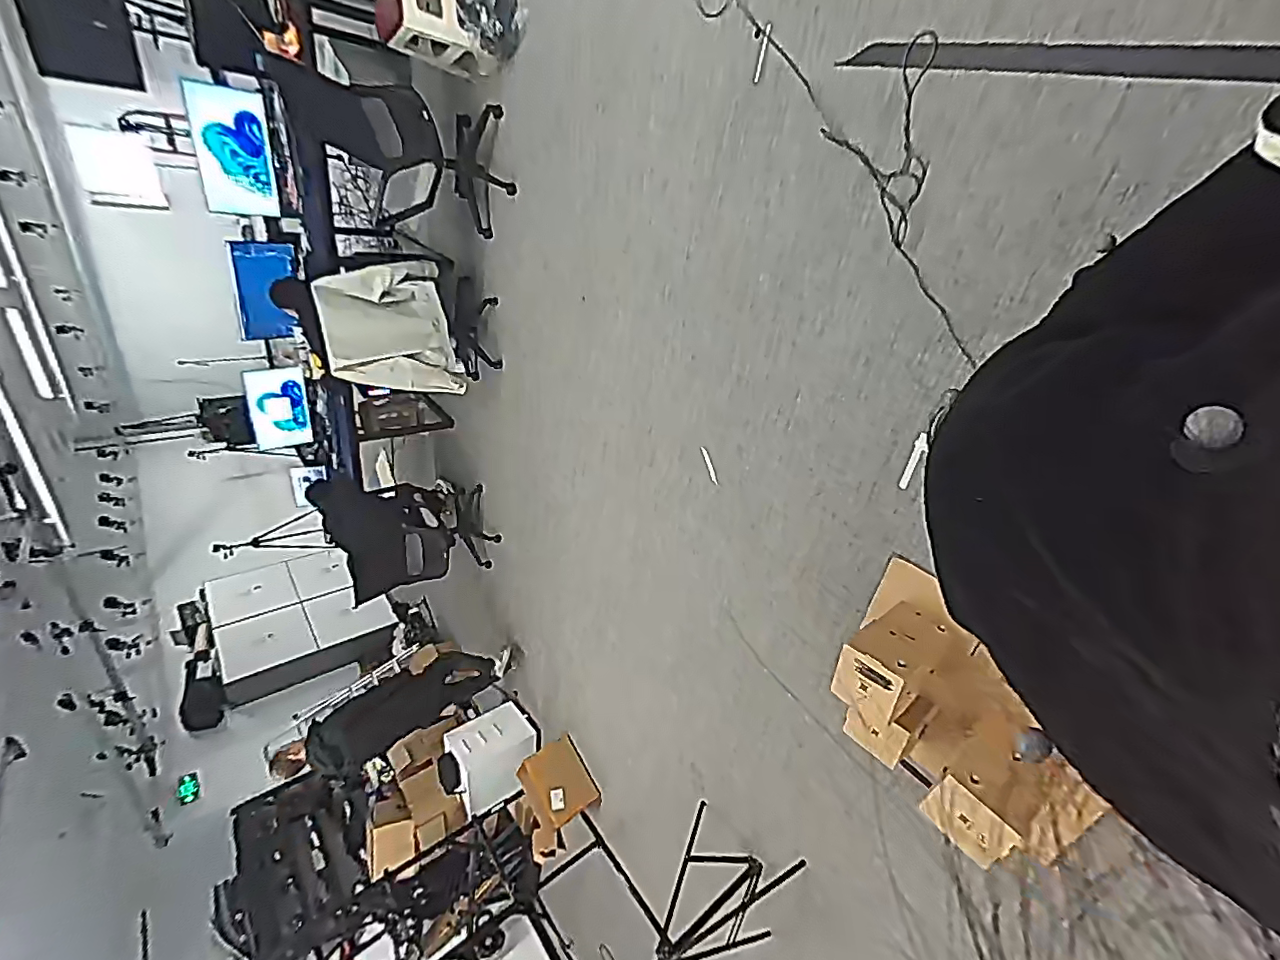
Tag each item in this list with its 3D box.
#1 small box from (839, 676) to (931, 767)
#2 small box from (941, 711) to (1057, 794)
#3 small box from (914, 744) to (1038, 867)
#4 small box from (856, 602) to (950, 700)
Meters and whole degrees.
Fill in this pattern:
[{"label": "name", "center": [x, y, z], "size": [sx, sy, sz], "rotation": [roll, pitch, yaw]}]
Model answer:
[{"label": "small box", "center": [0.749, 0.723, 1.657], "size": [0.179, 0.176, 0.168], "rotation": [31, 127, 40]}, {"label": "small box", "center": [0.942, 0.741, 1.421], "size": [0.179, 0.176, 0.168], "rotation": [39, 130, 35]}, {"label": "small box", "center": [0.819, 0.779, 1.319], "size": [0.179, 0.176, 0.168], "rotation": [40, 131, 34]}, {"label": "small box", "center": [0.760, 0.482, 1.556], "size": [0.168, 0.176, 0.179], "rotation": [32, 126, 41]}]
